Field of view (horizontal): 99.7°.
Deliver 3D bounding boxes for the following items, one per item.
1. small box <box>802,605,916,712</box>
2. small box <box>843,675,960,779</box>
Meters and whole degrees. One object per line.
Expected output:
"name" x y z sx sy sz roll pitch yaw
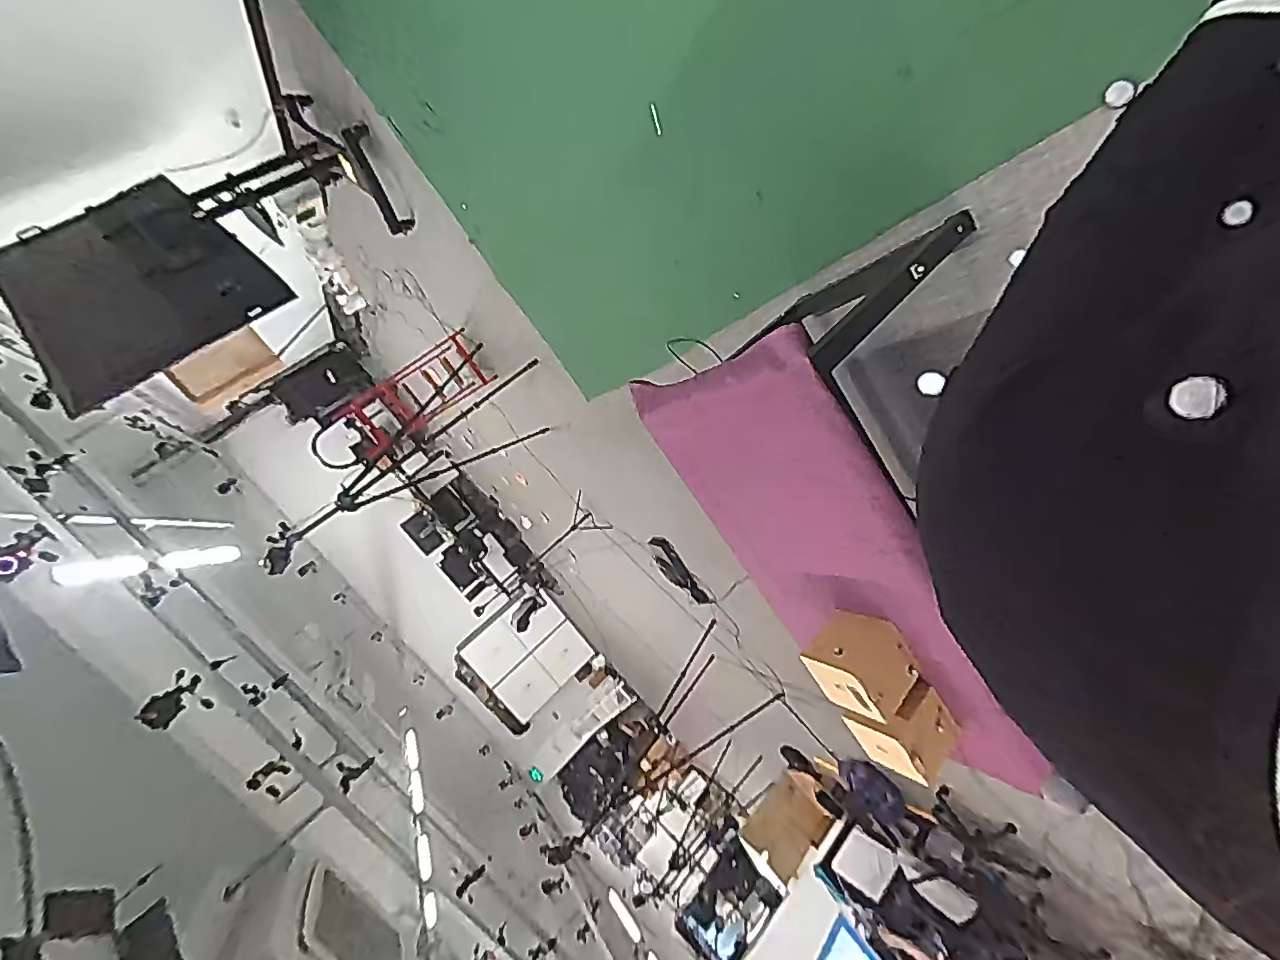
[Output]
"small box" 0.541 0.426 1.321 0.168 0.176 0.179 50 156 -14
"small box" 0.663 0.602 1.370 0.168 0.176 0.179 54 157 -14
